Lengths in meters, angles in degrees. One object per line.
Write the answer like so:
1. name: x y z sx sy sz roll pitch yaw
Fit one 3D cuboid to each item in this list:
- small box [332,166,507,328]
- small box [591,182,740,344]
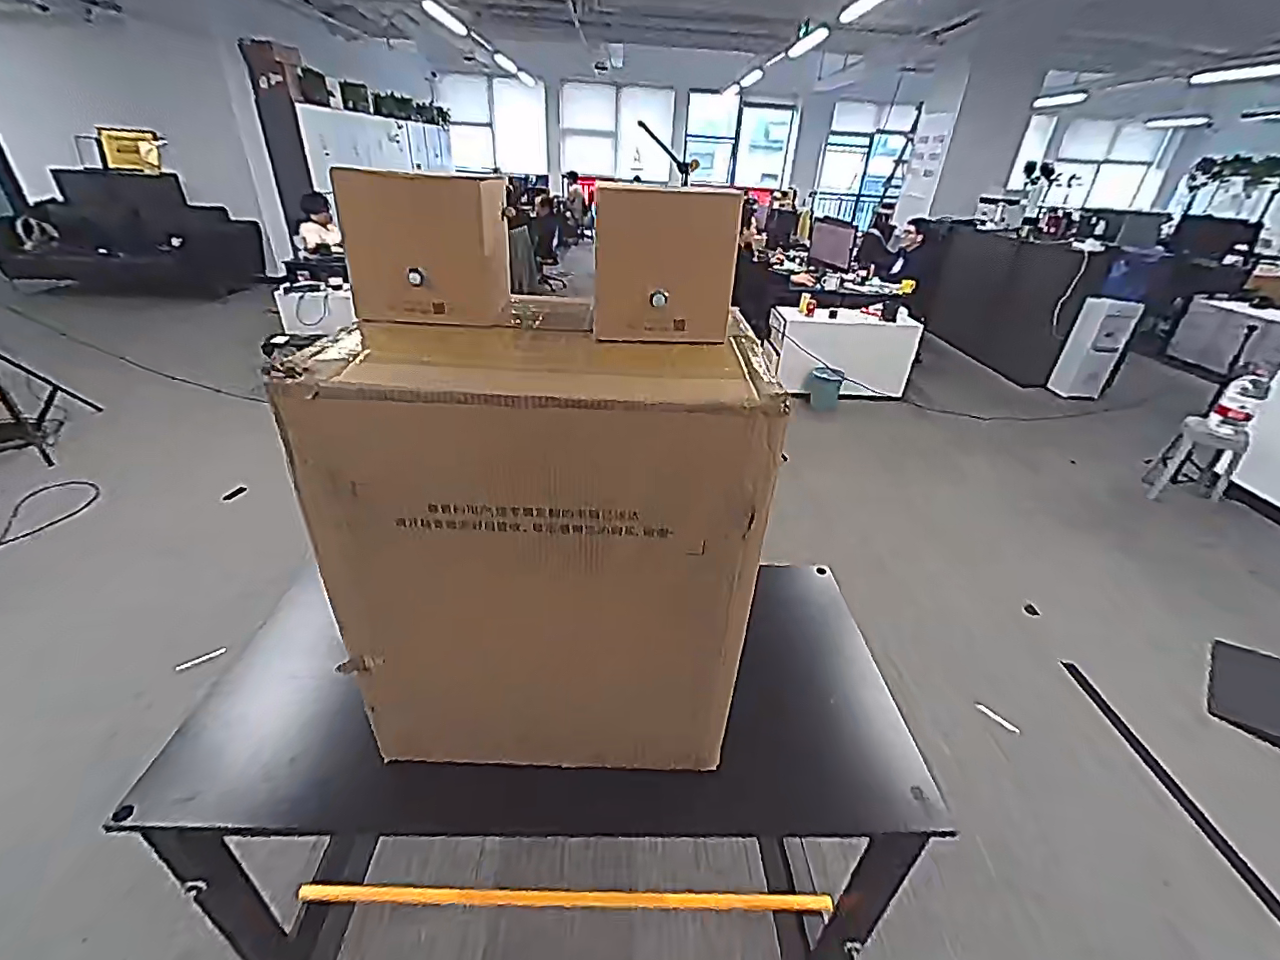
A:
1. small box: -0.272 -0.308 0.714 0.168 0.176 0.179 1 29 -4
2. small box: 0.021 -0.283 0.698 0.168 0.176 0.179 0 30 -4
